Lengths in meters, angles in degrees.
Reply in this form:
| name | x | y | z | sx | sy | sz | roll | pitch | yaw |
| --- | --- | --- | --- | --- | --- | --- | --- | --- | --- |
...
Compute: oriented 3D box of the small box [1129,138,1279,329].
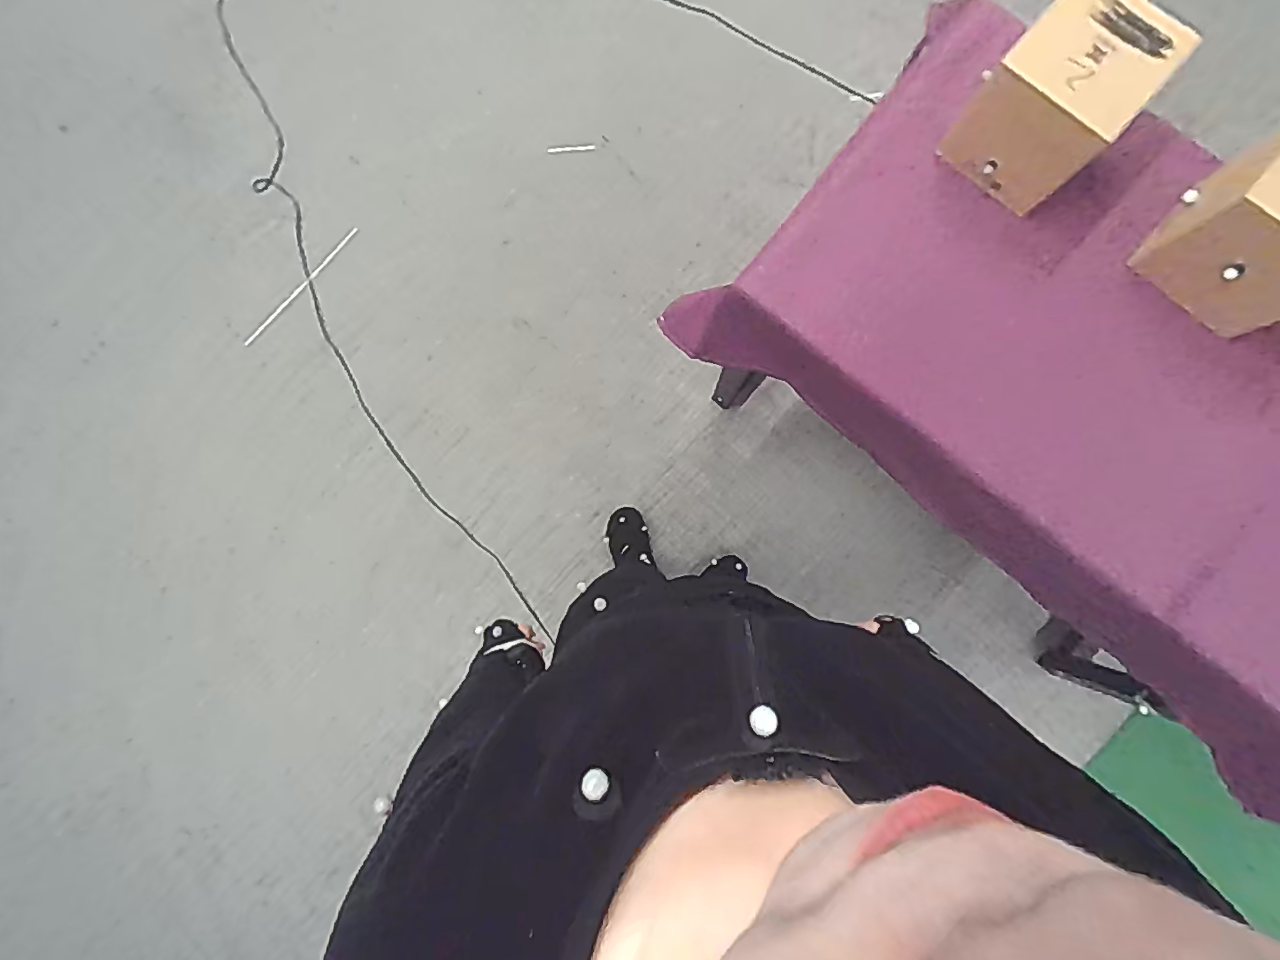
| name | x | y | z | sx | sy | sz | roll | pitch | yaw |
| --- | --- | --- | --- | --- | --- | --- | --- | --- | --- |
| small box | 0.824 | -0.322 | 0.708 | 0.179 | 0.176 | 0.168 | 42 | 88 | 7 |
